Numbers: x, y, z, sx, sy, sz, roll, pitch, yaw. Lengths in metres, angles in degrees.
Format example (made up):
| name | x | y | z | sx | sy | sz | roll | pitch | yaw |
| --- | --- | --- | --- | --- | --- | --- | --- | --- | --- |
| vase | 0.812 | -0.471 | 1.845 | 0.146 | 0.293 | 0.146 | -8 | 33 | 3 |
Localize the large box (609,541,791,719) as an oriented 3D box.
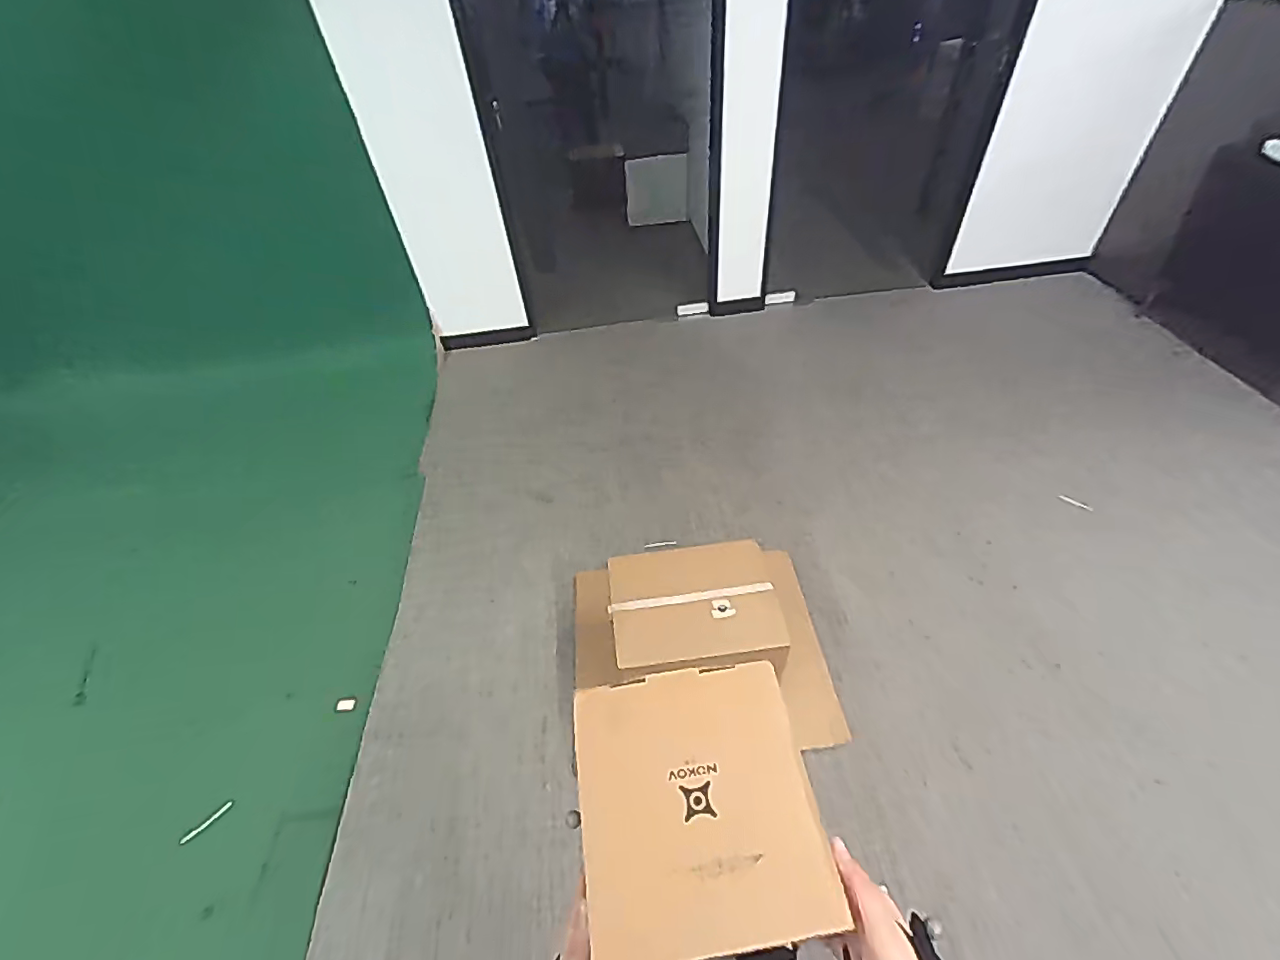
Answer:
| name | x | y | z | sx | sy | sz | roll | pitch | yaw |
| --- | --- | --- | --- | --- | --- | --- | --- | --- | --- |
| large box | 0.139 | 0.398 | 1.432 | 0.408 | 0.320 | 0.320 | -6 | 46 | -2 |
